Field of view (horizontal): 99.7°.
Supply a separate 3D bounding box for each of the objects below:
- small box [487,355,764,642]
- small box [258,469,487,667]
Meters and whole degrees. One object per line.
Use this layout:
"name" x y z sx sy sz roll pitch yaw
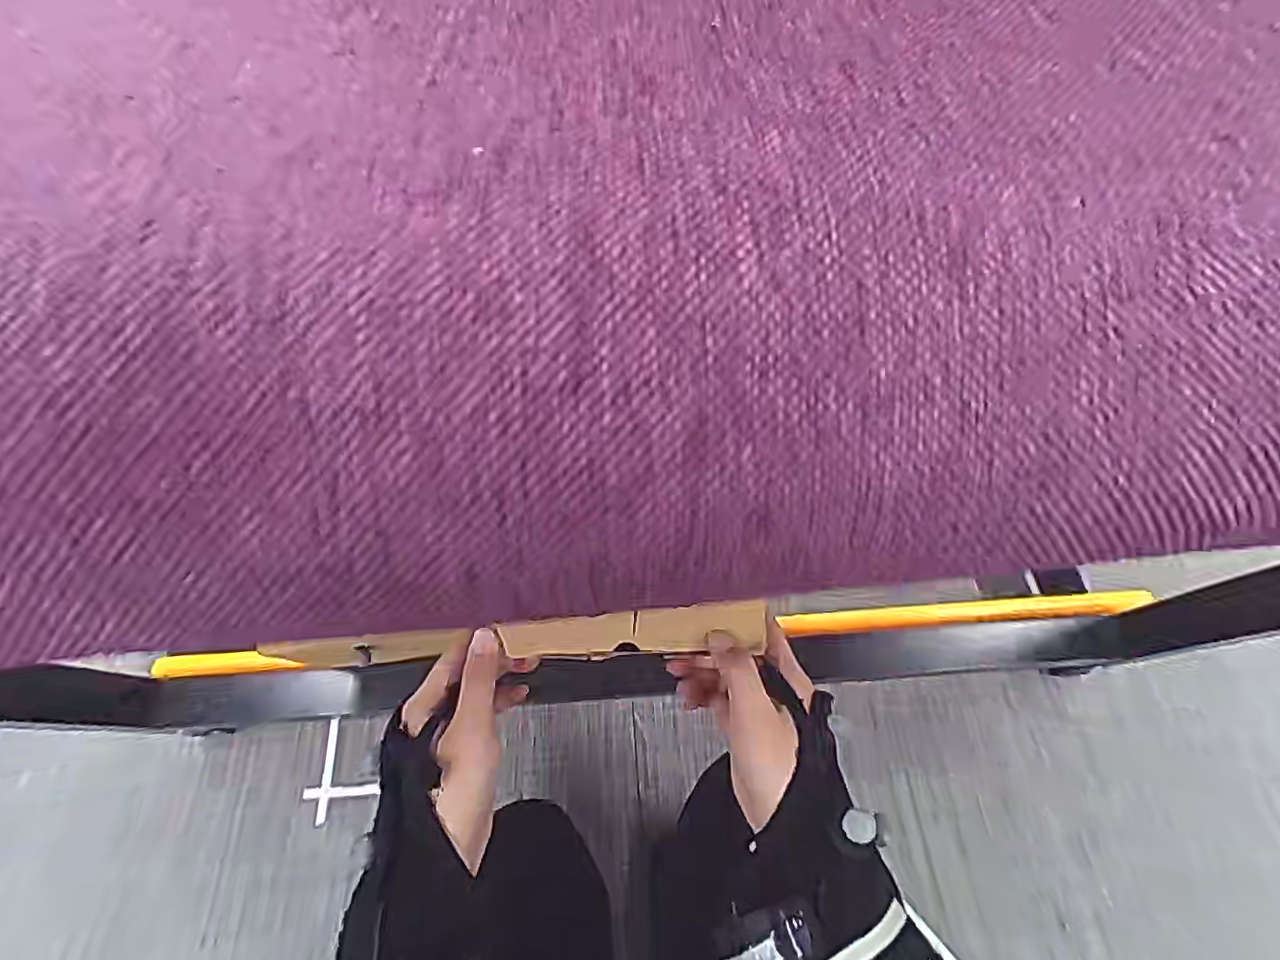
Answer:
"small box" -0.009 0.021 0.406 0.168 0.176 0.179 0 80 -2
"small box" -0.271 0.105 0.597 0.179 0.176 0.168 -8 65 -4
